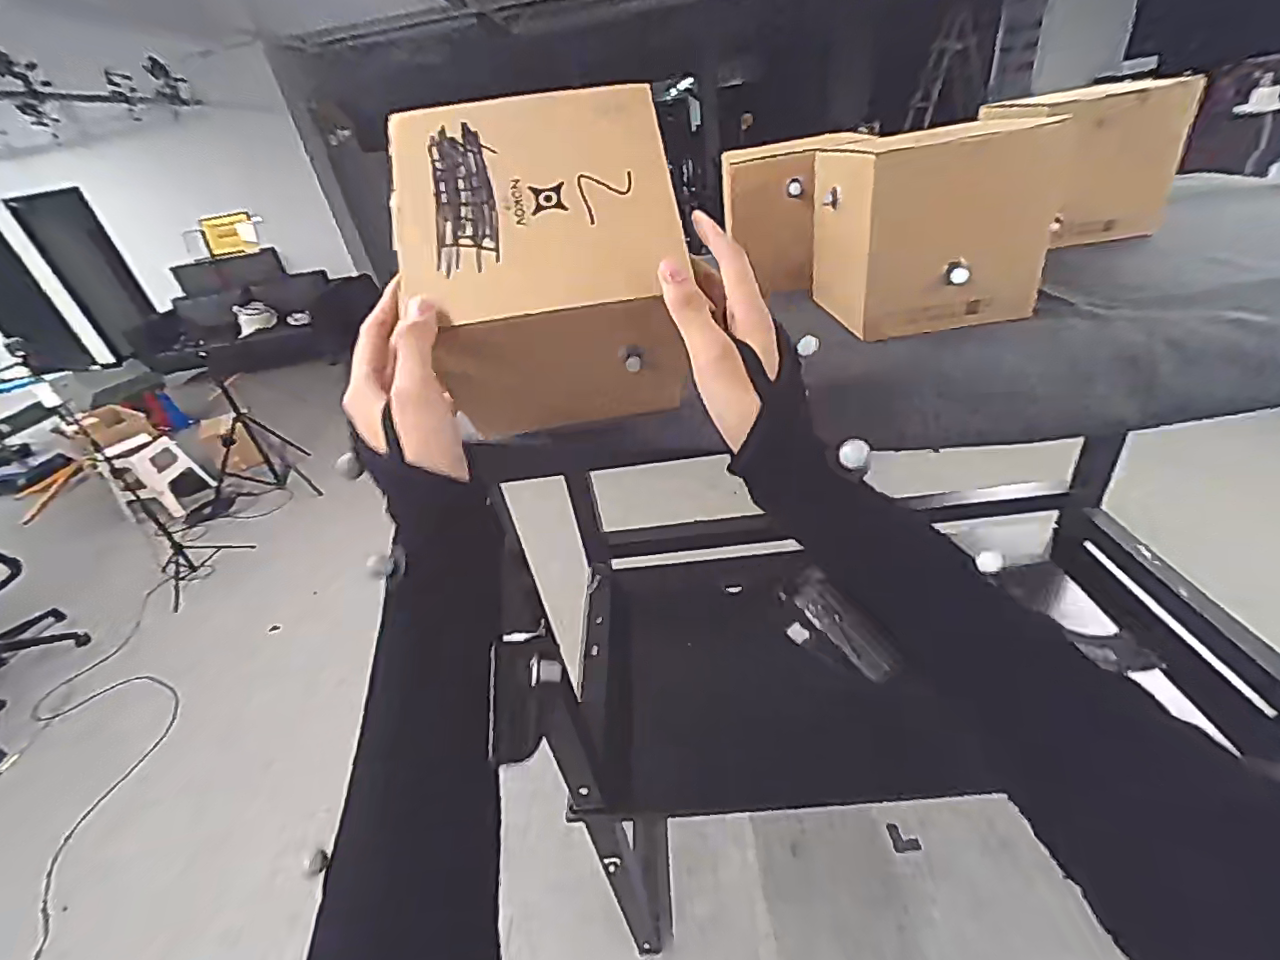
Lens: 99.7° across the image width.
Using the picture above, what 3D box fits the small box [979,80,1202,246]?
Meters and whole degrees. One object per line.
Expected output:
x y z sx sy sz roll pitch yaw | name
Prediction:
0.572 -0.419 0.731 0.168 0.176 0.179 -5 33 7 | small box

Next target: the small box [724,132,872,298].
0.210 -0.364 0.746 0.179 0.176 0.168 -4 34 9 | small box

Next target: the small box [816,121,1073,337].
0.289 -0.261 0.565 0.168 0.176 0.179 -8 33 4 | small box
